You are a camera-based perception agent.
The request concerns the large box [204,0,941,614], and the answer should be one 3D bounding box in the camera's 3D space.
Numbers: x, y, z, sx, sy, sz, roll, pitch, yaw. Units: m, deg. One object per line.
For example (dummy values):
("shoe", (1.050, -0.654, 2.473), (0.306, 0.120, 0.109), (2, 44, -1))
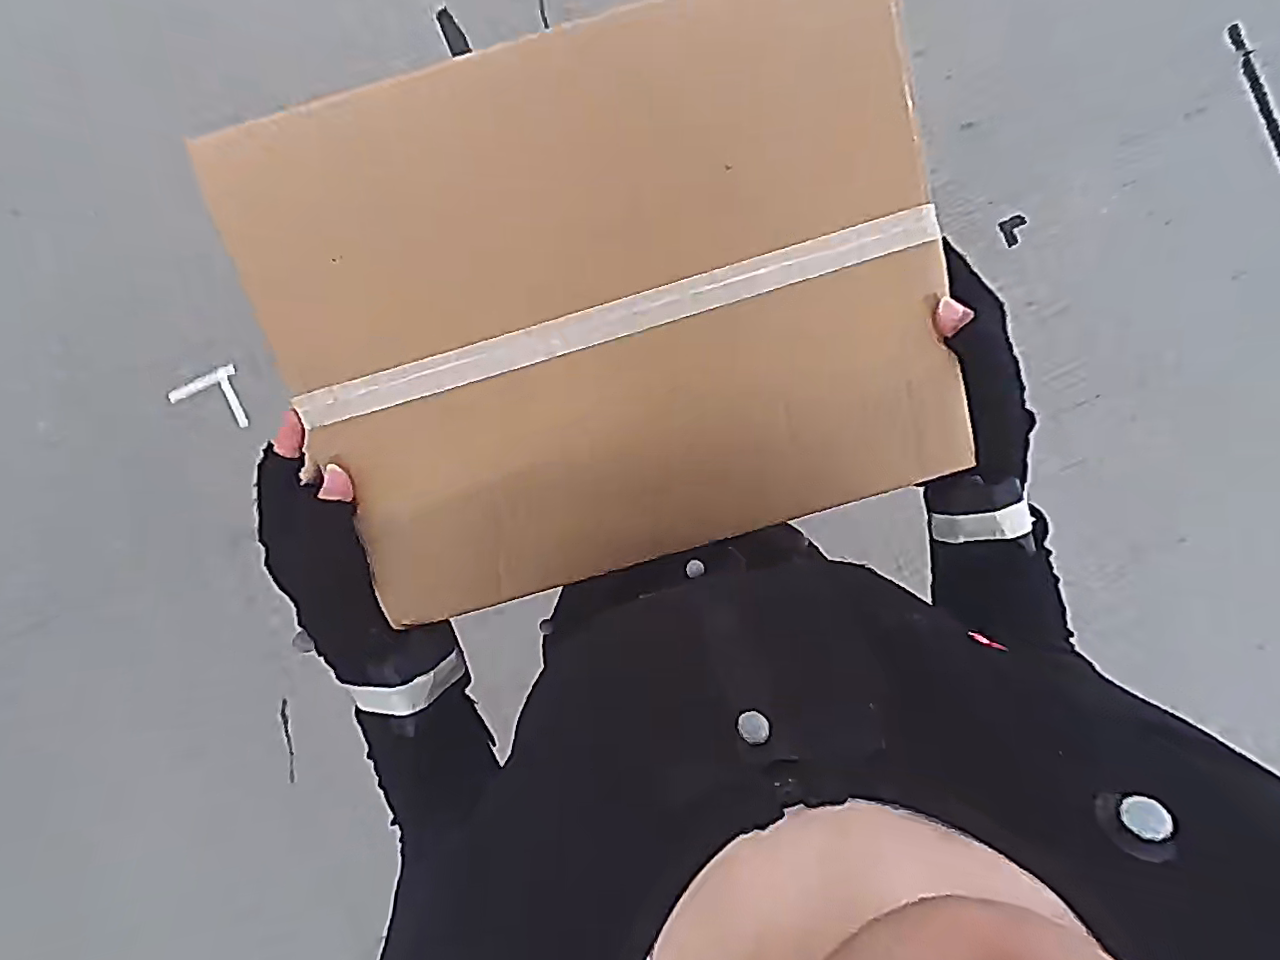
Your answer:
("large box", (-0.029, -0.137, 0.486), (0.408, 0.320, 0.320), (-16, 102, 1))
